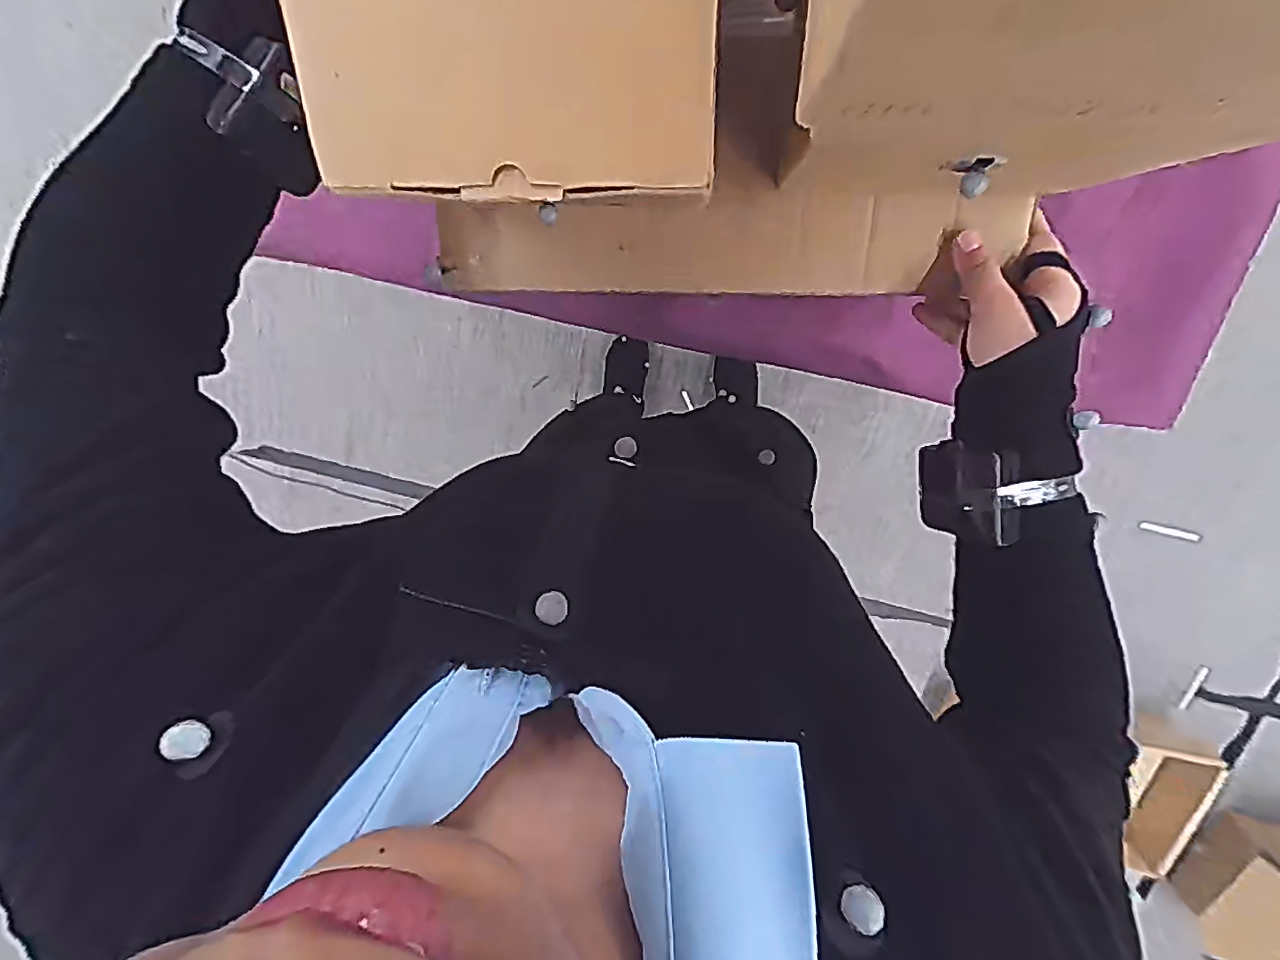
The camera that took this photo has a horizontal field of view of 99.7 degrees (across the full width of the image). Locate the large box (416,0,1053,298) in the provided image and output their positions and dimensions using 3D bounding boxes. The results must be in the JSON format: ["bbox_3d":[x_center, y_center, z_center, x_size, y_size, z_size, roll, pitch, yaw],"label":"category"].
[{"bbox_3d":[0.072,-0.330,0.469,0.408,0.320,0.320,3,110,6],"label":"large box"}]

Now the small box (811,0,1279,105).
[{"bbox_3d":[0.134,-0.176,0.082,0.179,0.176,0.168,4,111,6],"label":"small box"}]
